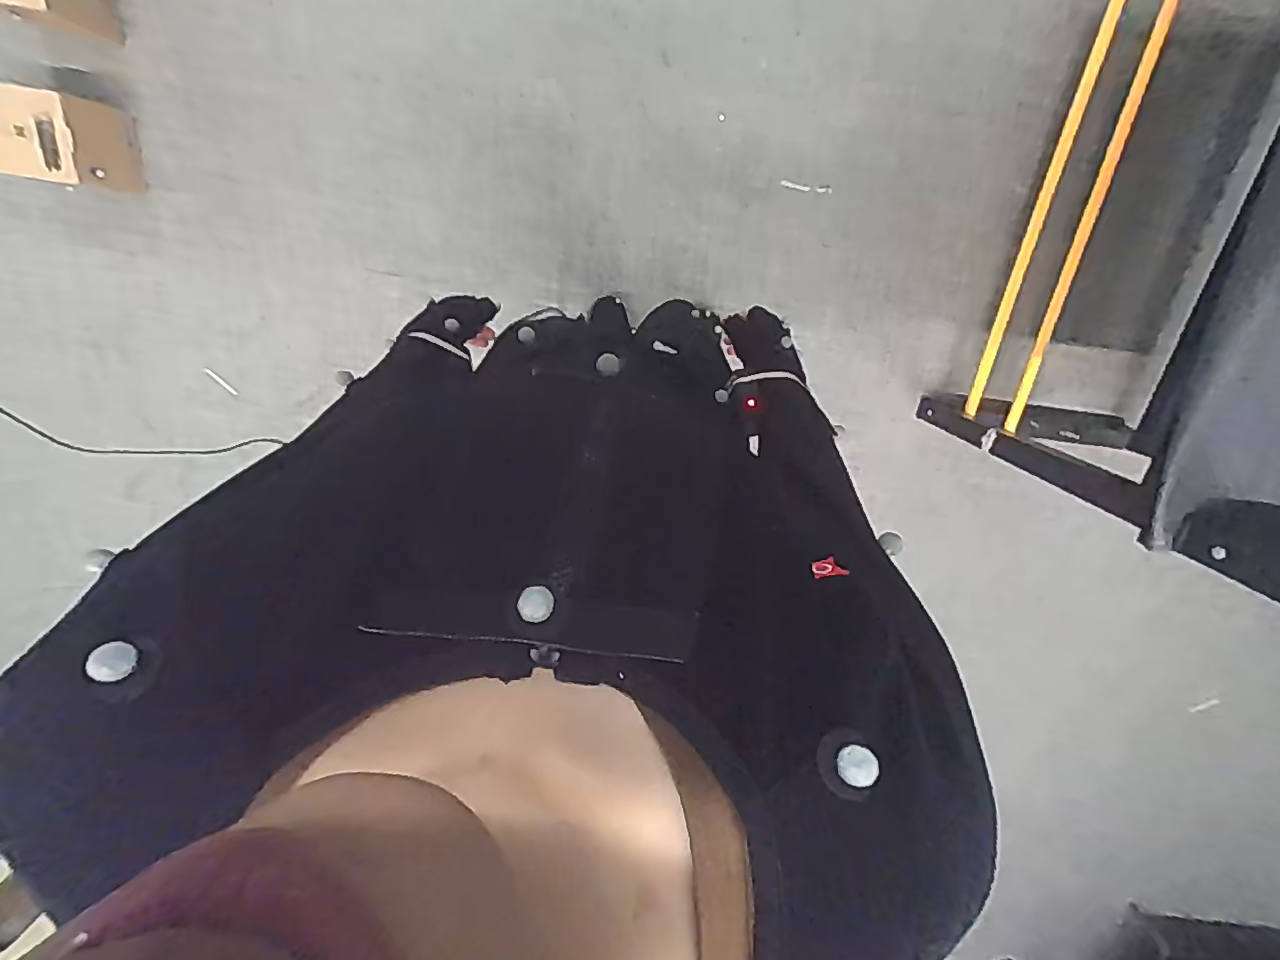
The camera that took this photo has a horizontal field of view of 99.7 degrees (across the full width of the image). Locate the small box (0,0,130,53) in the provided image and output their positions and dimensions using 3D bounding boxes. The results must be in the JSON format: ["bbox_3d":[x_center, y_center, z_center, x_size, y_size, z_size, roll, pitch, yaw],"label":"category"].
[{"bbox_3d":[-1.177,-0.980,1.067,0.179,0.176,0.168,7,110,-3],"label":"small box"}]
